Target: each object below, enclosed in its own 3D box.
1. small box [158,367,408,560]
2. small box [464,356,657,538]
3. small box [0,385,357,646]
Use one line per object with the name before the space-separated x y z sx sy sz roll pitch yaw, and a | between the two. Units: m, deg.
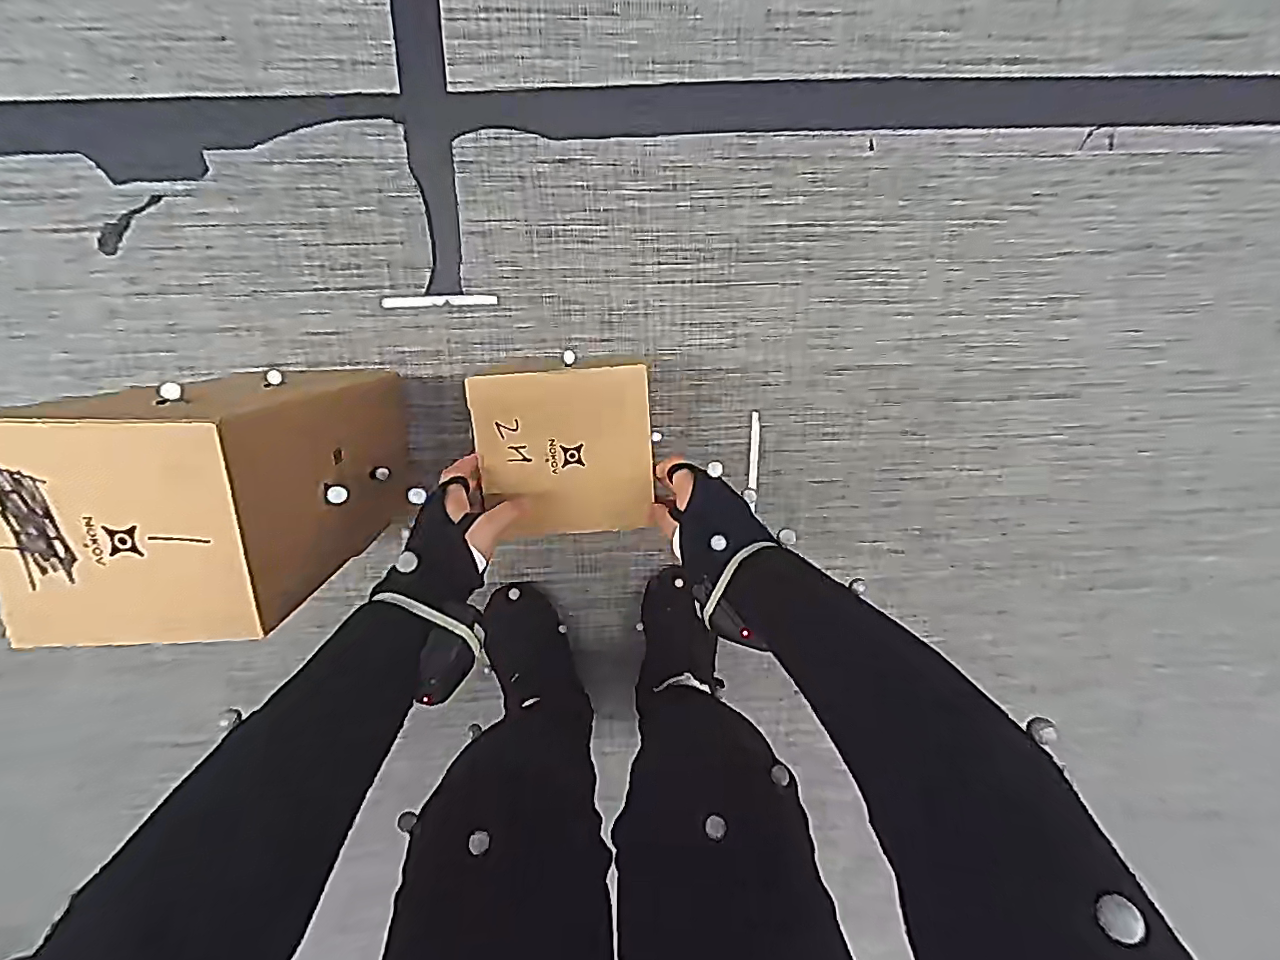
small box | -0.374 -0.026 0.600 0.168 0.176 0.179 0 108 -3
small box | -0.077 -0.046 0.602 0.179 0.176 0.168 -4 106 -1
small box | -0.363 0.016 0.440 0.179 0.176 0.168 0 107 -4
